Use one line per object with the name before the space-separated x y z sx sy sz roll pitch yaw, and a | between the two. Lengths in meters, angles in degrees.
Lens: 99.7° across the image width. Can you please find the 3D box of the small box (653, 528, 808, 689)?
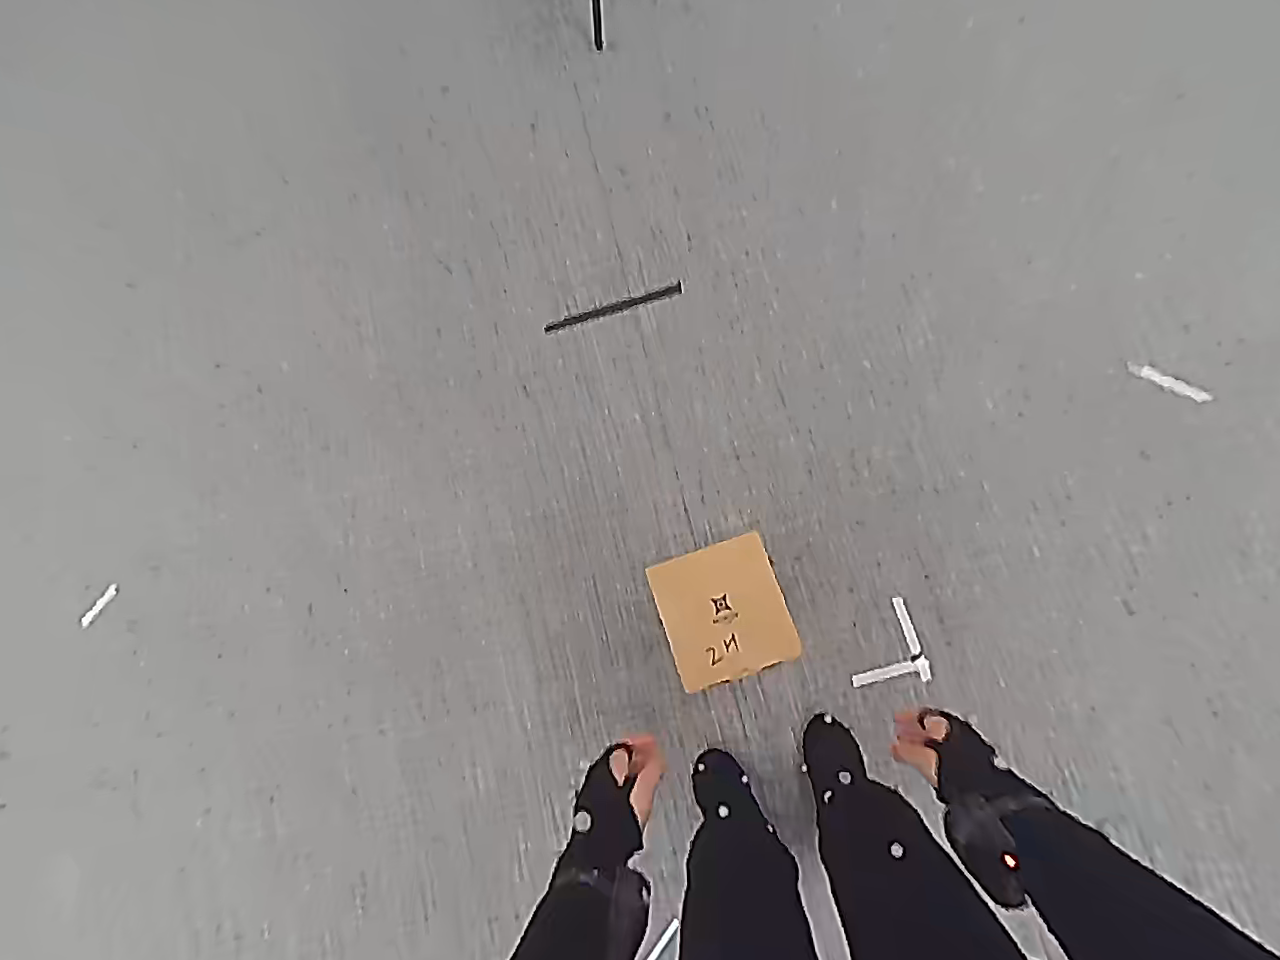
small box | 0.127 0.186 0.801 0.168 0.176 0.179 -20 77 3
